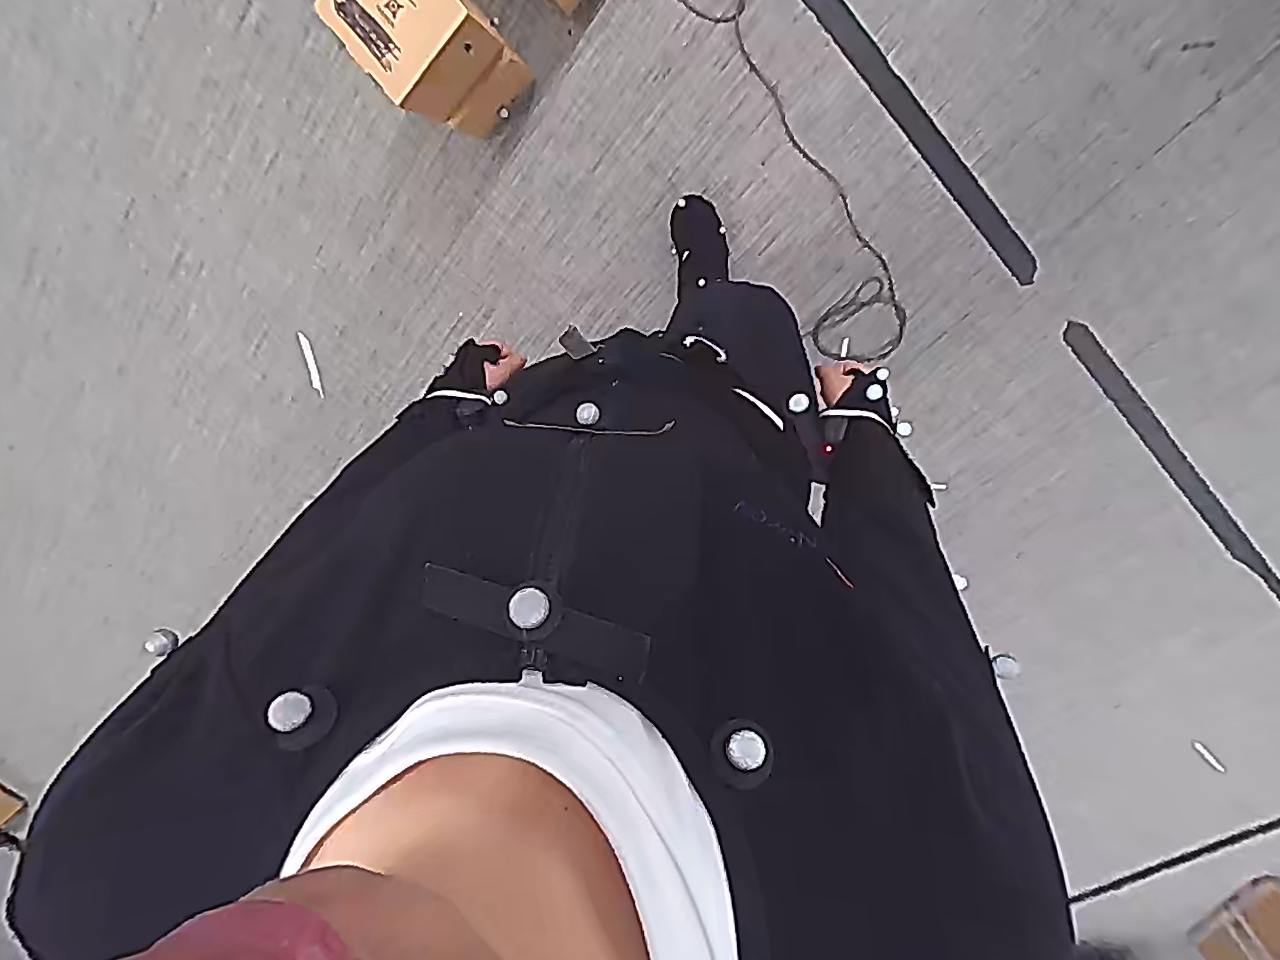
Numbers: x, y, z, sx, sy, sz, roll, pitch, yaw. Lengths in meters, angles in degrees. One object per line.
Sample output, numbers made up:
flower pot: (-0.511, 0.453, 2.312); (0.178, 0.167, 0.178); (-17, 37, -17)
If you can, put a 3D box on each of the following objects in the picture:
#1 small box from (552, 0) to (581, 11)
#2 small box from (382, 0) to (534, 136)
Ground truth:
small box: (-0.150, -0.950, 0.906); (0.179, 0.176, 0.168); (42, 113, -14)
small box: (-0.327, -0.778, 1.004); (0.168, 0.176, 0.179); (-36, 108, 20)
